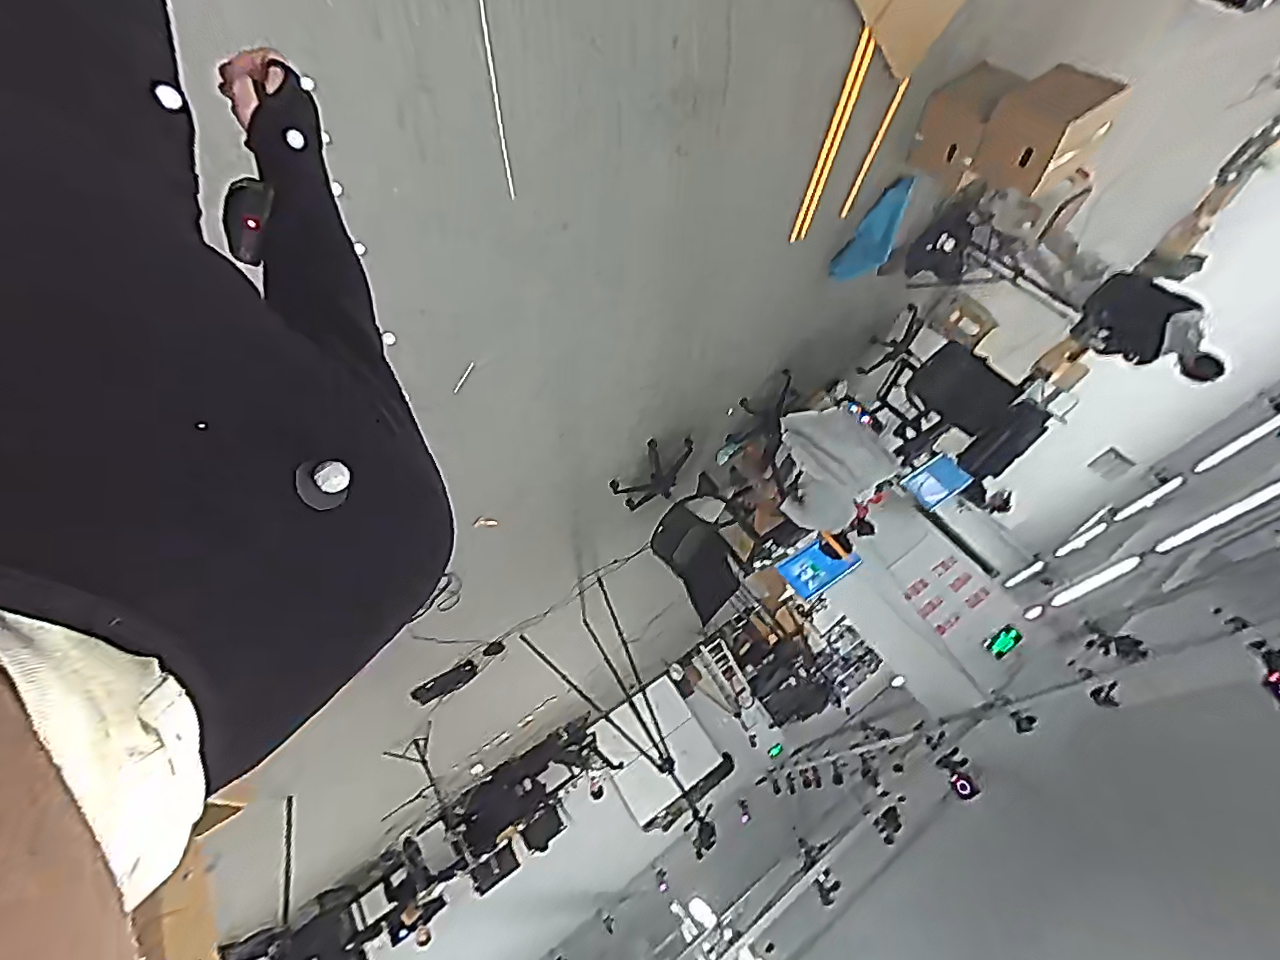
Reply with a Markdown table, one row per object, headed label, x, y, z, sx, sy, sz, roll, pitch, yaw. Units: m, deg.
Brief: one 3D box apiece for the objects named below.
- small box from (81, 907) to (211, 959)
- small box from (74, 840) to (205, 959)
| label | x | y | z | sx | sy | sz | roll | pitch | yaw |
| --- | --- | --- | --- | --- | --- | --- | --- | --- | --- |
| small box | -1.132 | 1.127 | 1.247 | 0.168 | 0.176 | 0.179 | -29 | 151 | -19 |
| small box | -1.220 | 1.012 | 1.320 | 0.168 | 0.176 | 0.179 | -28 | 152 | -18 |
